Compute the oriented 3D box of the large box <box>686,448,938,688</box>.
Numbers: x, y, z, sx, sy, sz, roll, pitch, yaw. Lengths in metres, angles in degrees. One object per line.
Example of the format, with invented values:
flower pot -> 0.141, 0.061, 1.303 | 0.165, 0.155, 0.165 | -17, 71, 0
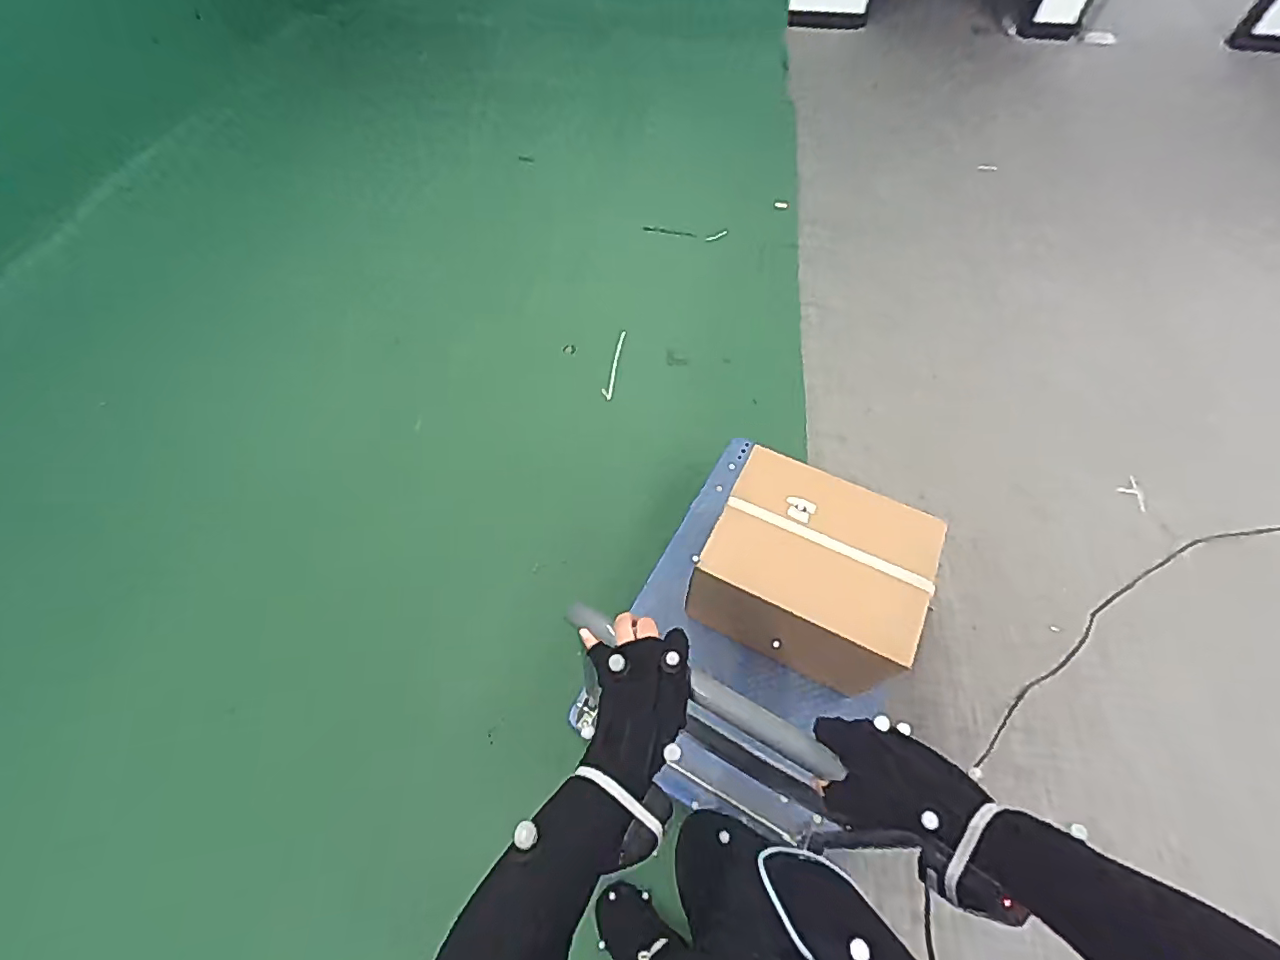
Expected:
large box -> 0.347, 0.196, 1.167 | 0.408, 0.320, 0.320 | 23, 62, 14
